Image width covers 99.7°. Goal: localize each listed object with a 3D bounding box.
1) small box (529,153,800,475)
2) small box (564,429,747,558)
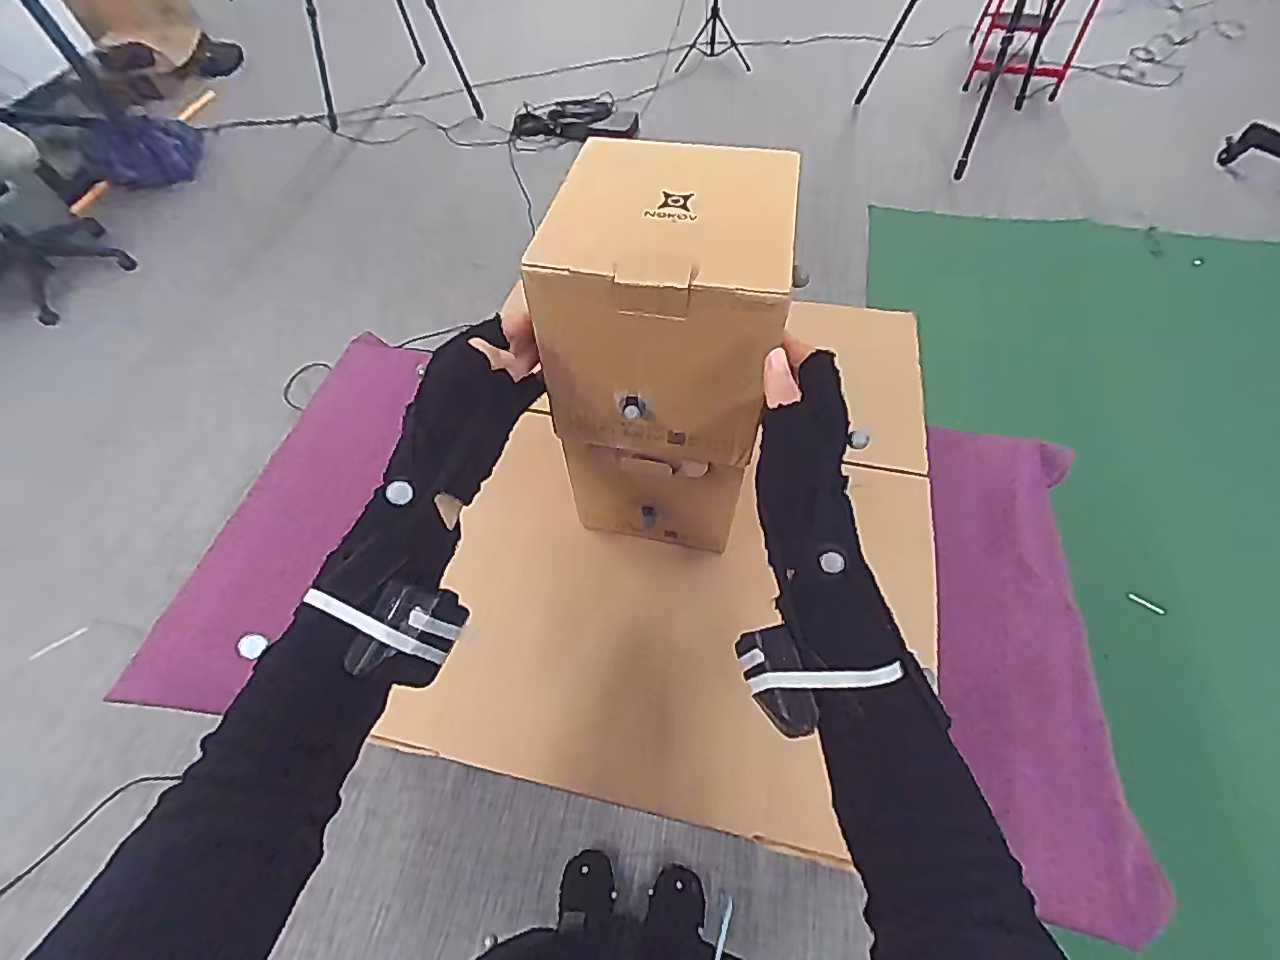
[{"bbox_3d":[0.026,-0.130,0.438,0.168,0.176,0.179,9,56,7],"label":"small box"},{"bbox_3d":[0.031,-0.042,0.576,0.168,0.176,0.179,10,57,9],"label":"small box"}]
